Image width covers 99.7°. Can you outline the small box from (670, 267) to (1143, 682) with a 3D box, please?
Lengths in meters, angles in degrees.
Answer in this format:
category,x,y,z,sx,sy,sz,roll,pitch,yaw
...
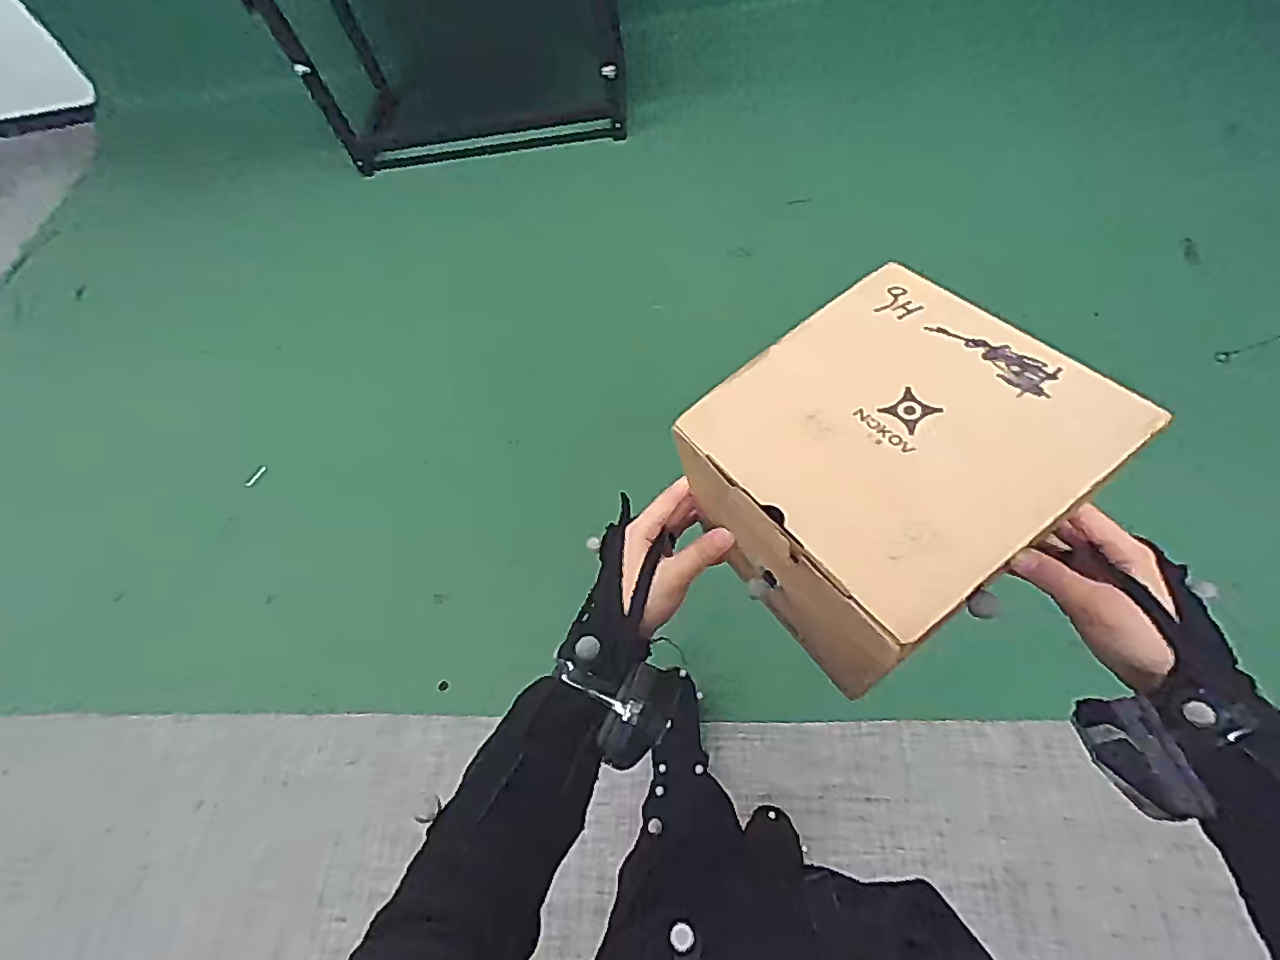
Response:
category,x,y,z,sx,sy,sz,roll,pitch,yaw
small box,0.148,0.007,0.356,0.179,0.176,0.168,-37,60,-7
